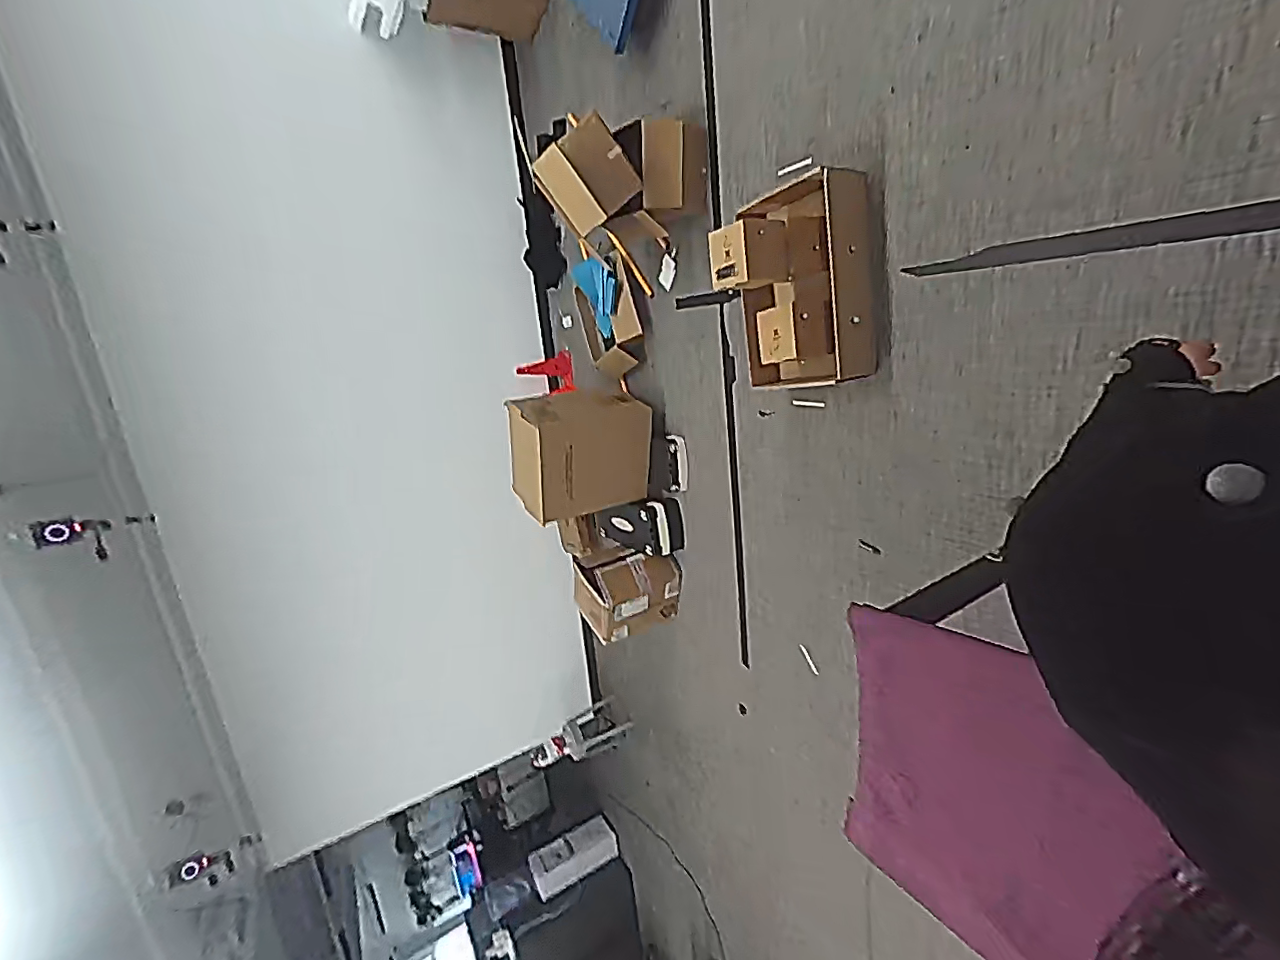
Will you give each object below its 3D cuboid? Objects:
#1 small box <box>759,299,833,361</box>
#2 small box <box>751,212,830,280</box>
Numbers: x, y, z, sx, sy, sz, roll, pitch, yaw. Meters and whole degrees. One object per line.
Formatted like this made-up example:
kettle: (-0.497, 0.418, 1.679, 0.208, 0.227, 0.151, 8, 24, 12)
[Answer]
small box: (0.519, -0.498, 1.796, 0.168, 0.176, 0.179, 8, 108, 61)
small box: (0.486, -0.751, 1.749, 0.179, 0.176, 0.168, 11, 113, 59)
